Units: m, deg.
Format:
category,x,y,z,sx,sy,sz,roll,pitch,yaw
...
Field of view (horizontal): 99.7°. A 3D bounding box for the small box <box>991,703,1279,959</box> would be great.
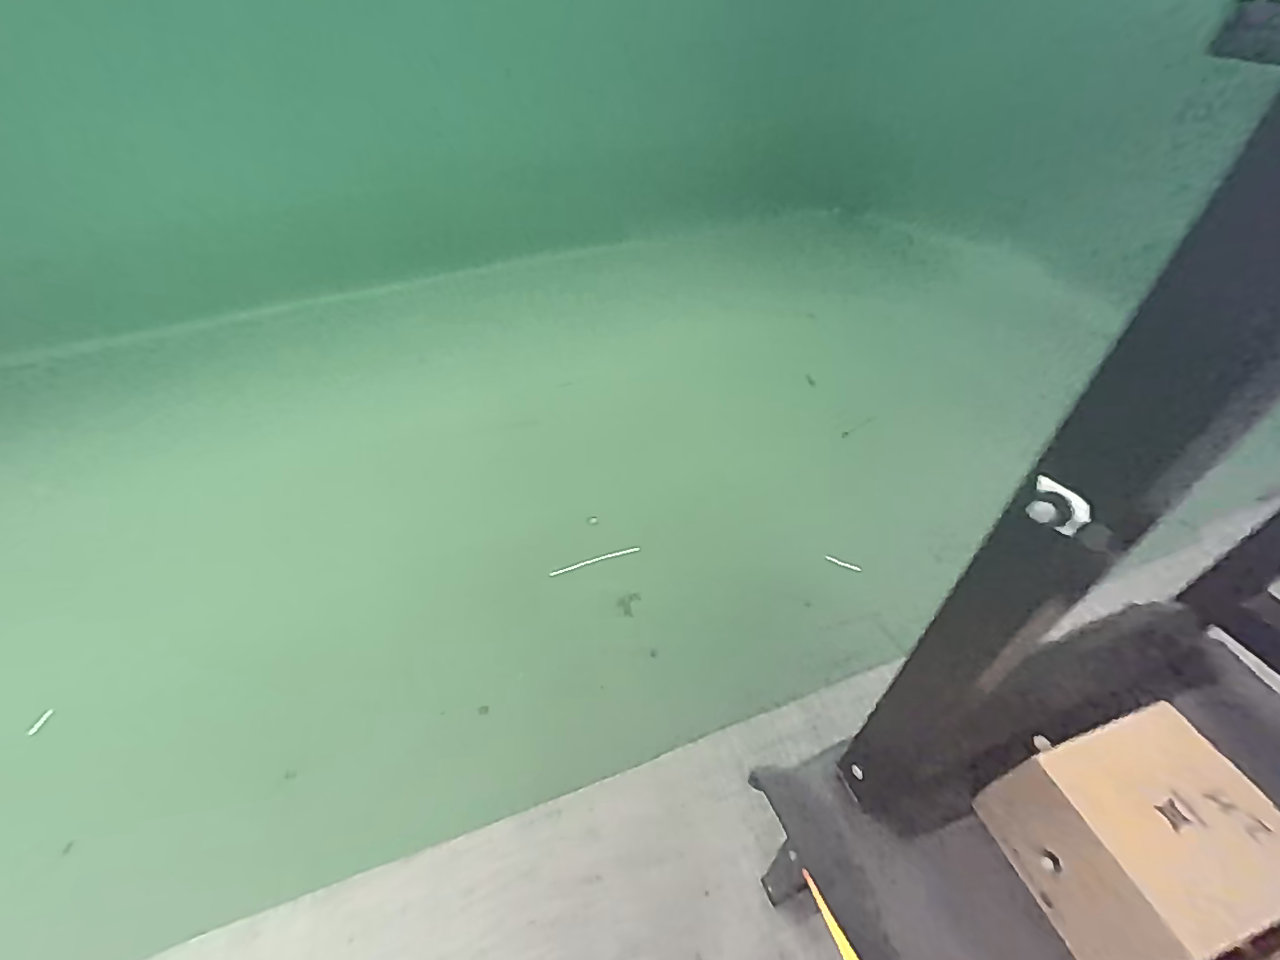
category,x,y,z,sx,sy,sz,roll,pitch,yaw
small box,0.500,0.361,0.549,0.179,0.176,0.168,-14,47,-11
